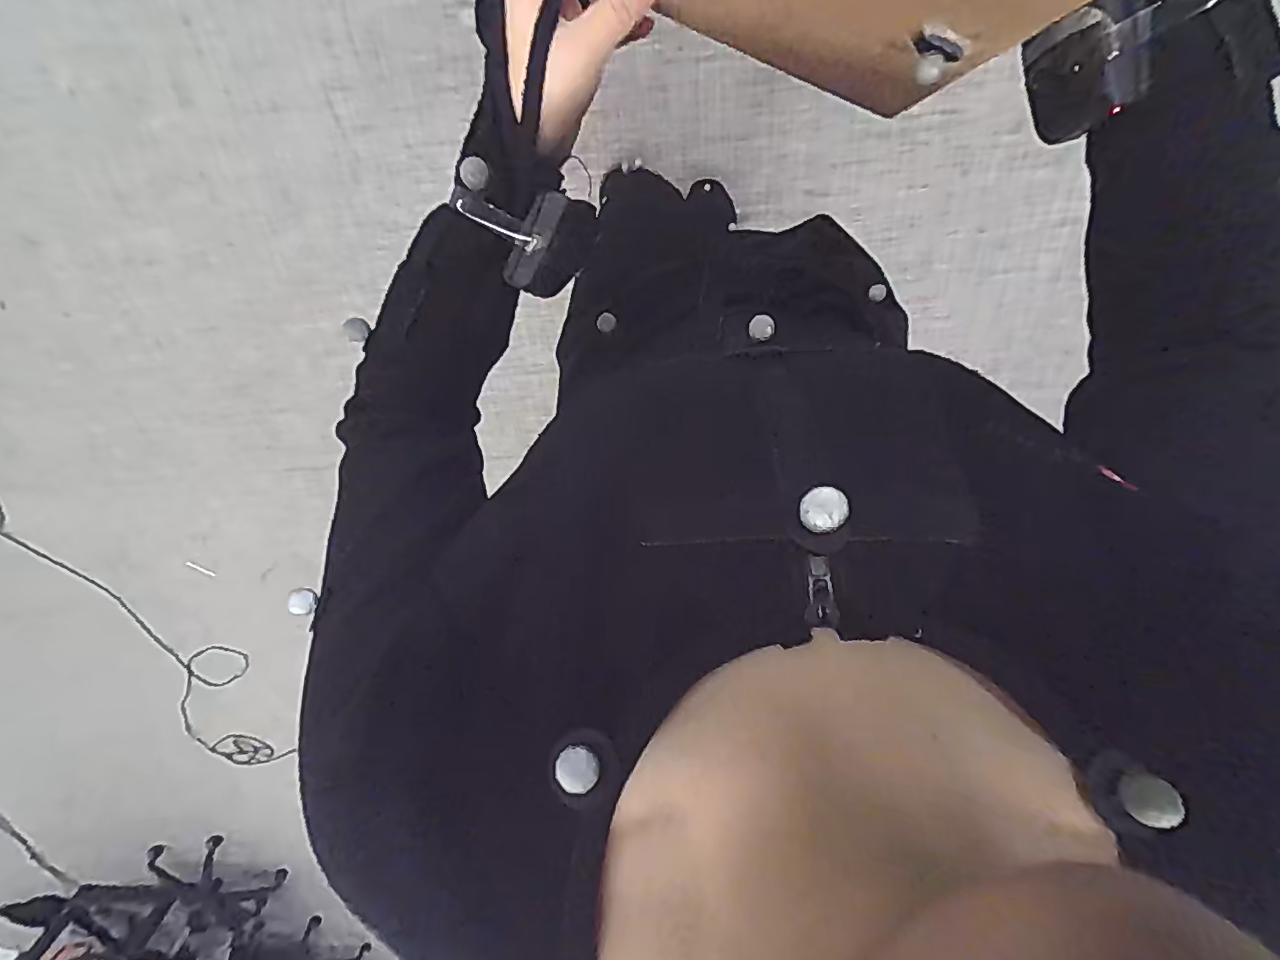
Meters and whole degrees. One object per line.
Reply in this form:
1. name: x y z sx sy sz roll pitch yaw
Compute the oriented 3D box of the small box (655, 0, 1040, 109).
1. small box: 0.100 -0.301 0.219 0.176 0.168 0.179 20 110 -6
